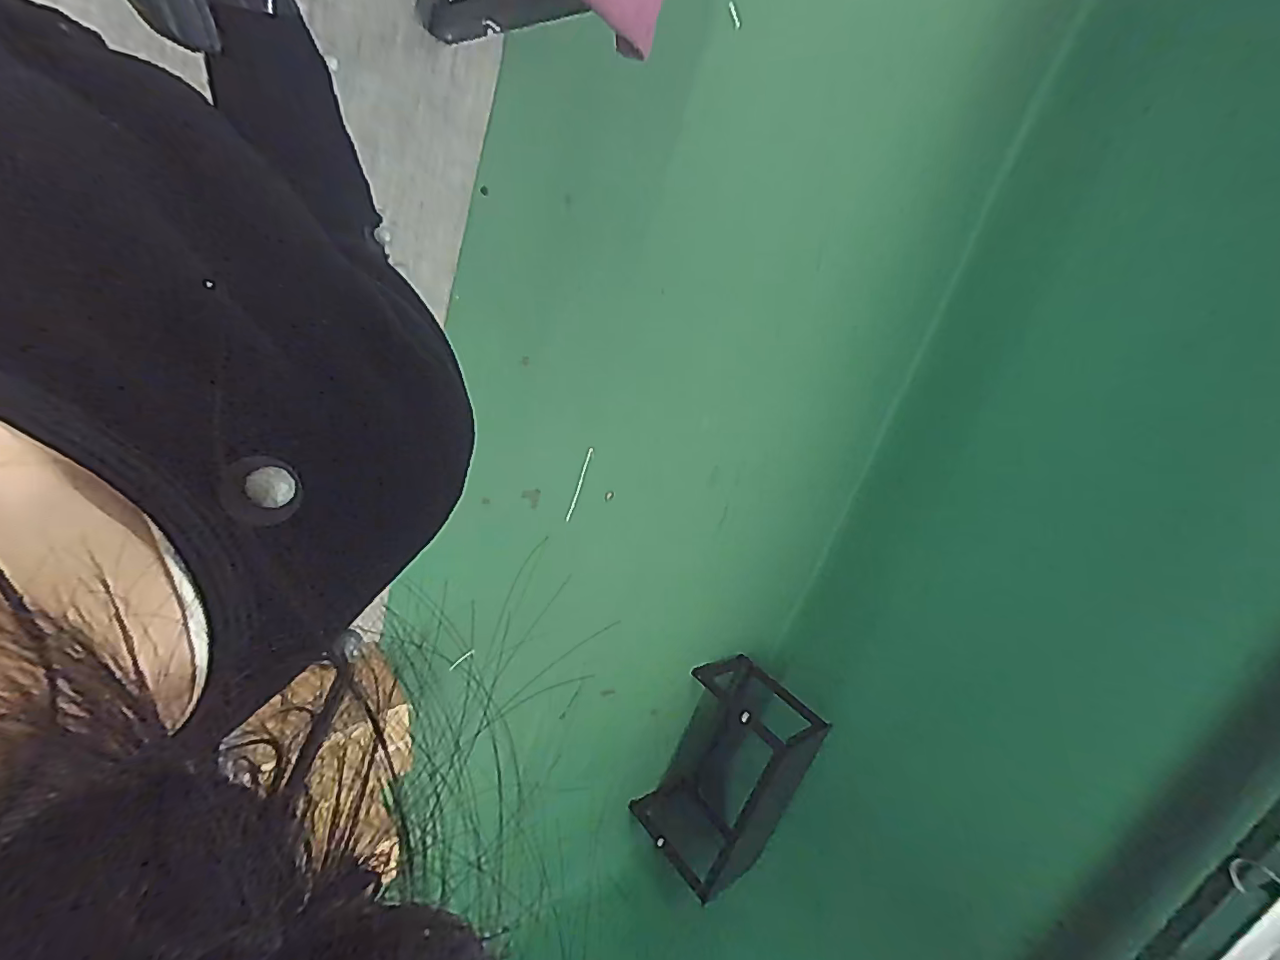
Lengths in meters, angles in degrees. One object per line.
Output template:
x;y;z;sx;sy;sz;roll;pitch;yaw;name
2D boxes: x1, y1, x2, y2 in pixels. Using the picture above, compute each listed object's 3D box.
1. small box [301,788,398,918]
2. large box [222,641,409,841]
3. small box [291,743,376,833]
-0.731;0.923;1.359;0.179;0.176;0.168;-7;119;-42;small box
-0.975;0.768;1.650;0.408;0.320;0.320;-16;127;-40;large box
-0.831;0.849;1.463;0.168;0.176;0.179;-8;120;-41;small box
